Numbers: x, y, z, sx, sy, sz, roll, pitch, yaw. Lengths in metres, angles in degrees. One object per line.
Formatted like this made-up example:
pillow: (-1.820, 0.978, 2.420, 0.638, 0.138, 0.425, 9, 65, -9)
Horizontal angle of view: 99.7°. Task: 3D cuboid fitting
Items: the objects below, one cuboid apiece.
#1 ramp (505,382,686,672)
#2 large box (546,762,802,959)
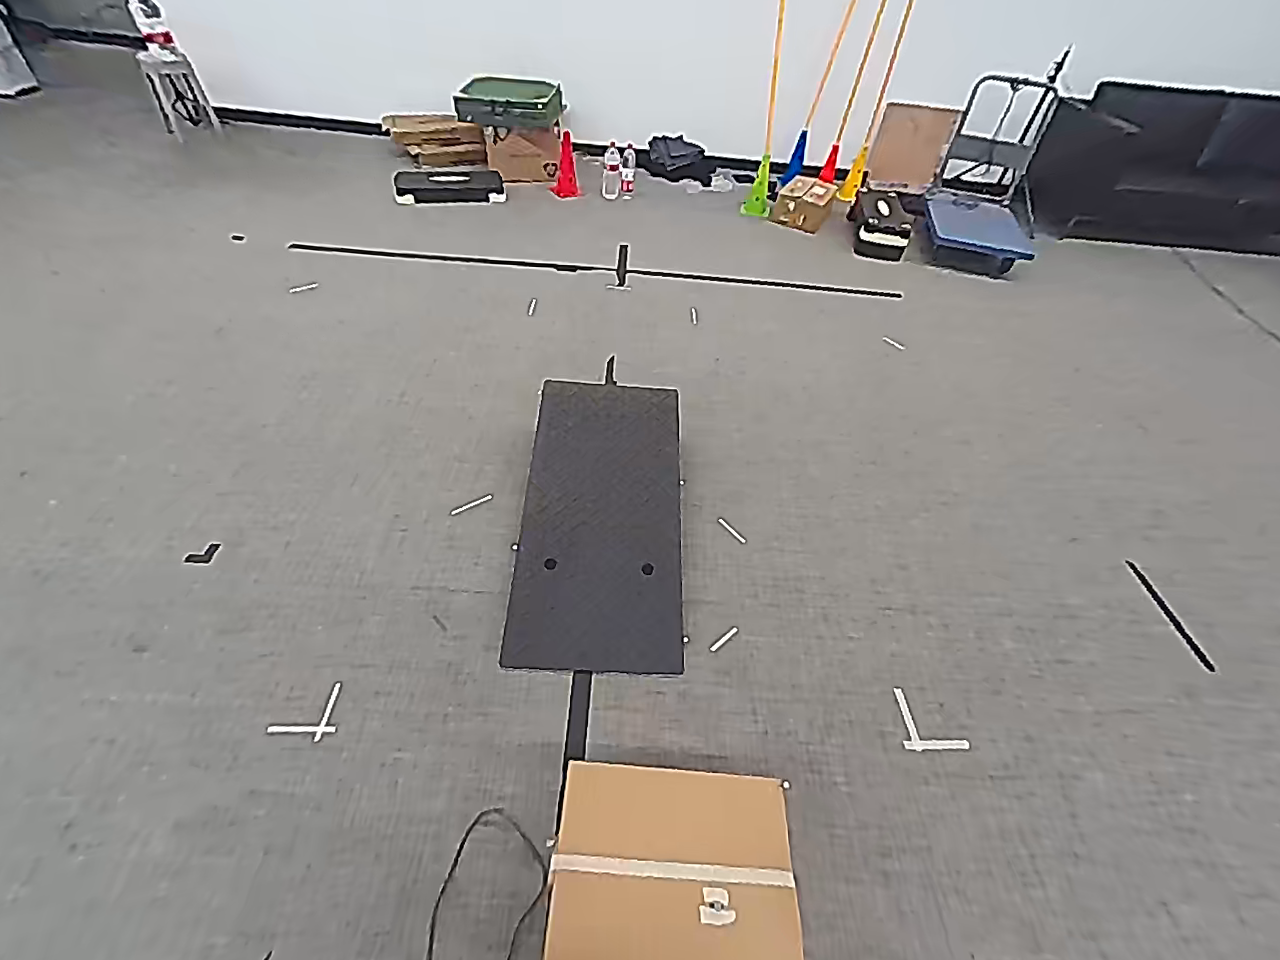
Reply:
ramp: (-0.102, 0.084, 1.709, 0.509, 0.206, 0.991, 4, 47, -5)
large box: (0.045, 0.757, 1.011, 0.408, 0.320, 0.320, 7, 46, -2)
